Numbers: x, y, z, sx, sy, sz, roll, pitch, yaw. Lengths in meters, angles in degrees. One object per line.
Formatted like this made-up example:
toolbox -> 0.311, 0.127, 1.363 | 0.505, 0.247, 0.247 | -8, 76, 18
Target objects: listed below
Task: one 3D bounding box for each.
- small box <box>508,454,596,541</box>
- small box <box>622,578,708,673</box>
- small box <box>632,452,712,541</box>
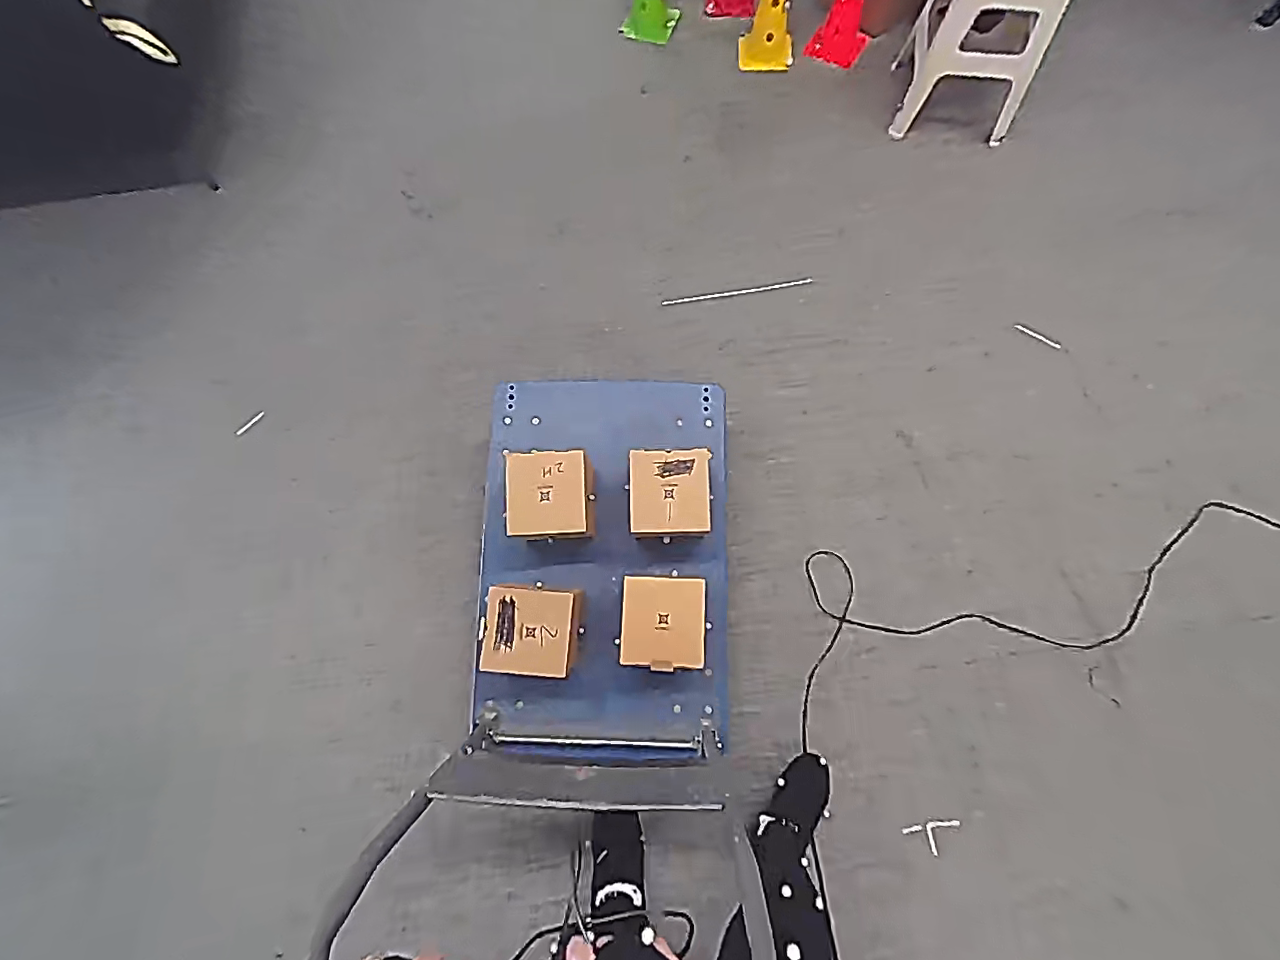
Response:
small box -> -0.189, 0.045, 1.201 | 0.168, 0.176, 0.179 | -2, 80, 1
small box -> 0.051, 0.301, 1.149 | 0.168, 0.176, 0.179 | 2, 81, 3
small box -> 0.069, 0.042, 1.193 | 0.168, 0.176, 0.179 | -1, 81, 3
